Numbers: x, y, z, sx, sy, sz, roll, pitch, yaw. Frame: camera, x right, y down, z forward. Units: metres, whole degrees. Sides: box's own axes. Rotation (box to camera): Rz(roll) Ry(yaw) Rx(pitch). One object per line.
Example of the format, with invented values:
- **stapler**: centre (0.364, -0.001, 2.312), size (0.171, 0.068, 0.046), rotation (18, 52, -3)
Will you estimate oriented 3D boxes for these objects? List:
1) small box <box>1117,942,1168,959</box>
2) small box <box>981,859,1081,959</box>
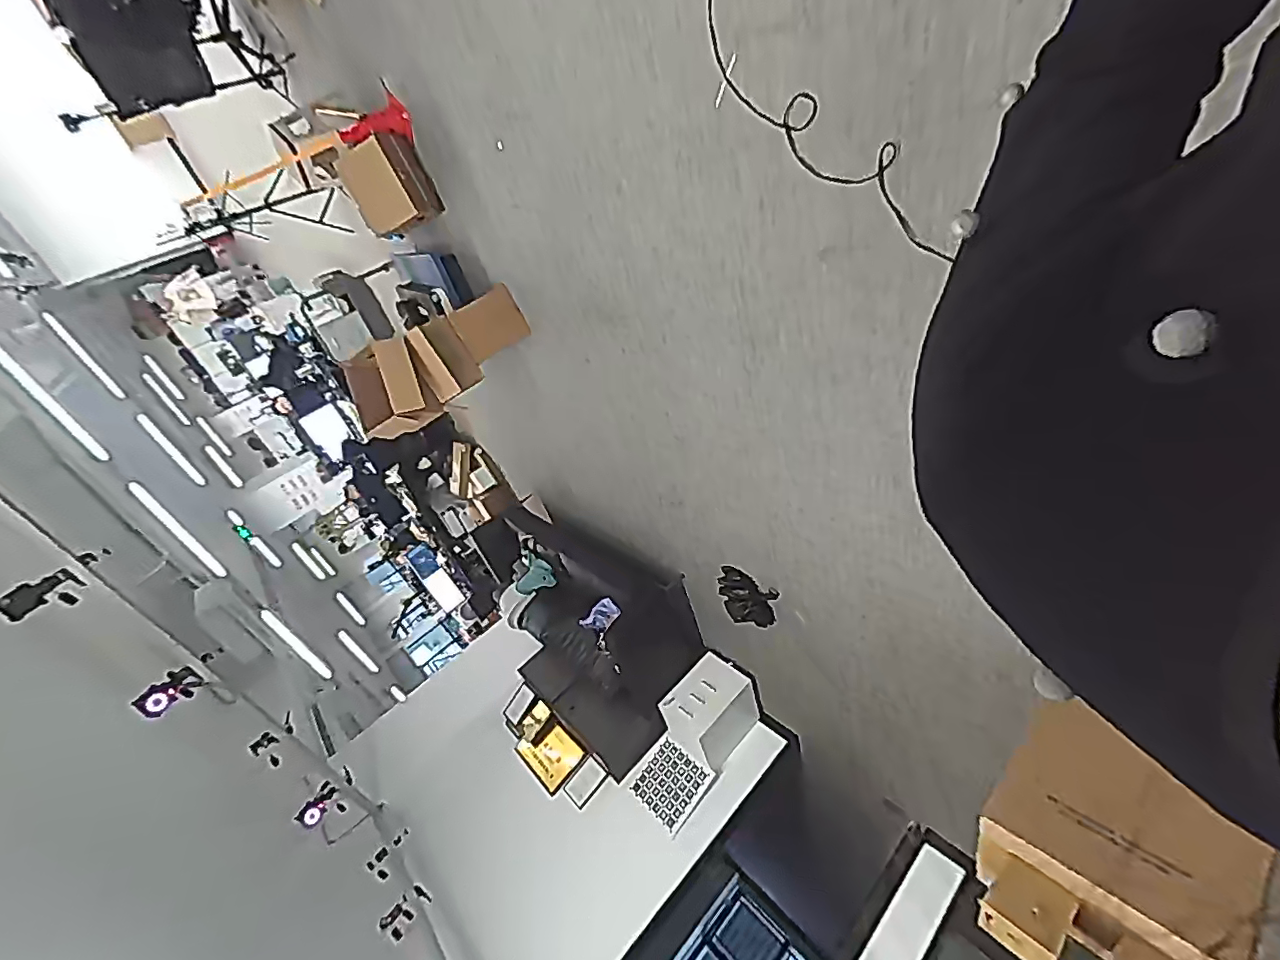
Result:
- **small box**: centre (1.235, 1.256, 1.285), size (0.179, 0.176, 0.168), rotation (17, 135, 47)
- **small box**: centre (1.066, 1.196, 1.475), size (0.179, 0.176, 0.168), rotation (21, 137, 45)
